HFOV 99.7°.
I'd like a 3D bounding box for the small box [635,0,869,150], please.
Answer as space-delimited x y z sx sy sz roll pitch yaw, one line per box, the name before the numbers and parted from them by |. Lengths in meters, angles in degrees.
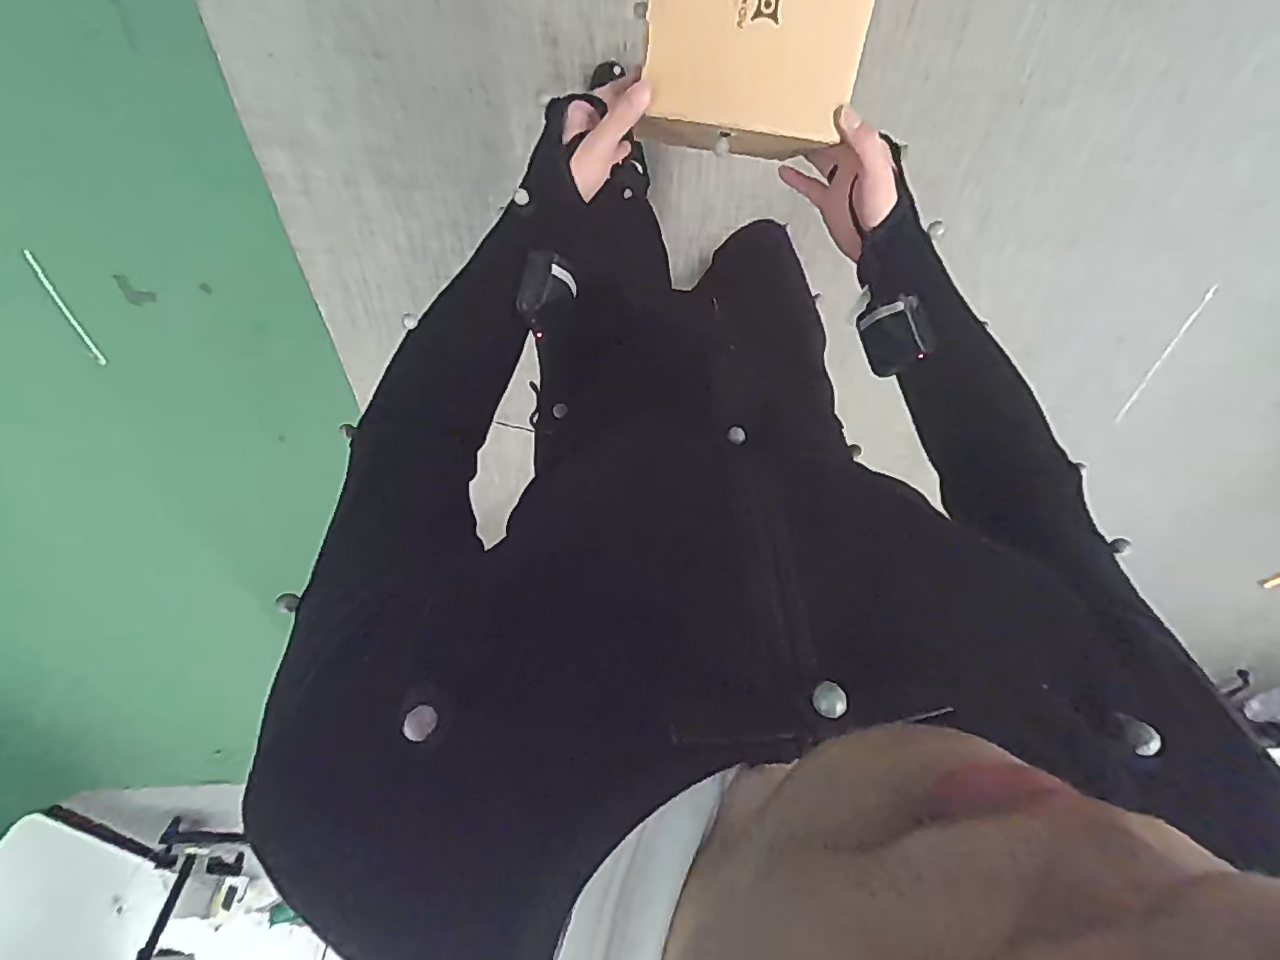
small box | 0.092 -0.411 0.493 0.179 0.176 0.168 7 116 -3
